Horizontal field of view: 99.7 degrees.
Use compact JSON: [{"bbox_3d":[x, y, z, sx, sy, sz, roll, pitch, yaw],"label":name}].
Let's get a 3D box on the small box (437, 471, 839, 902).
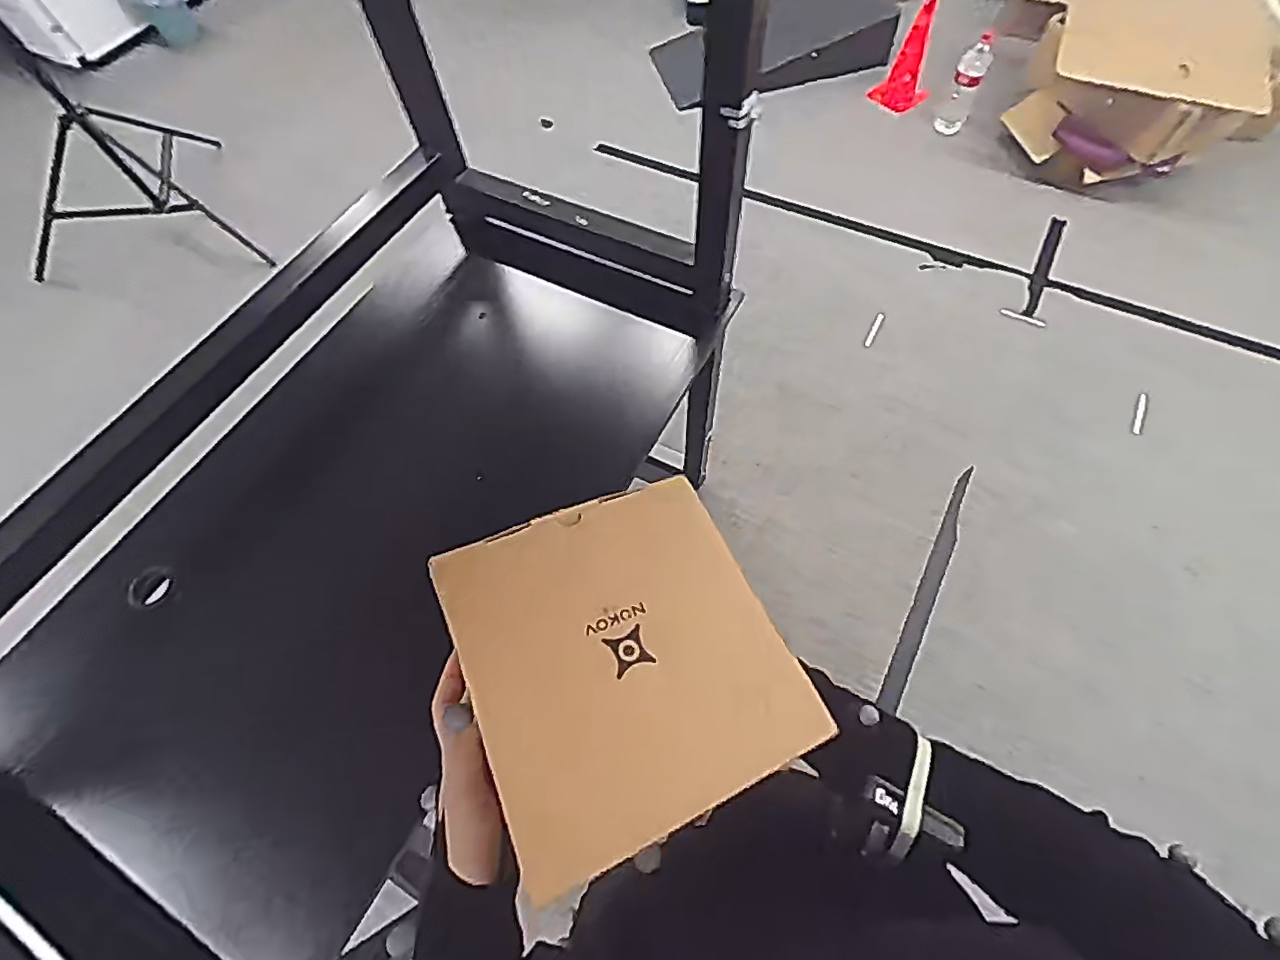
[{"bbox_3d":[-0.014,0.128,0.353,0.168,0.176,0.179,-18,59,-19],"label":"small box"}]
